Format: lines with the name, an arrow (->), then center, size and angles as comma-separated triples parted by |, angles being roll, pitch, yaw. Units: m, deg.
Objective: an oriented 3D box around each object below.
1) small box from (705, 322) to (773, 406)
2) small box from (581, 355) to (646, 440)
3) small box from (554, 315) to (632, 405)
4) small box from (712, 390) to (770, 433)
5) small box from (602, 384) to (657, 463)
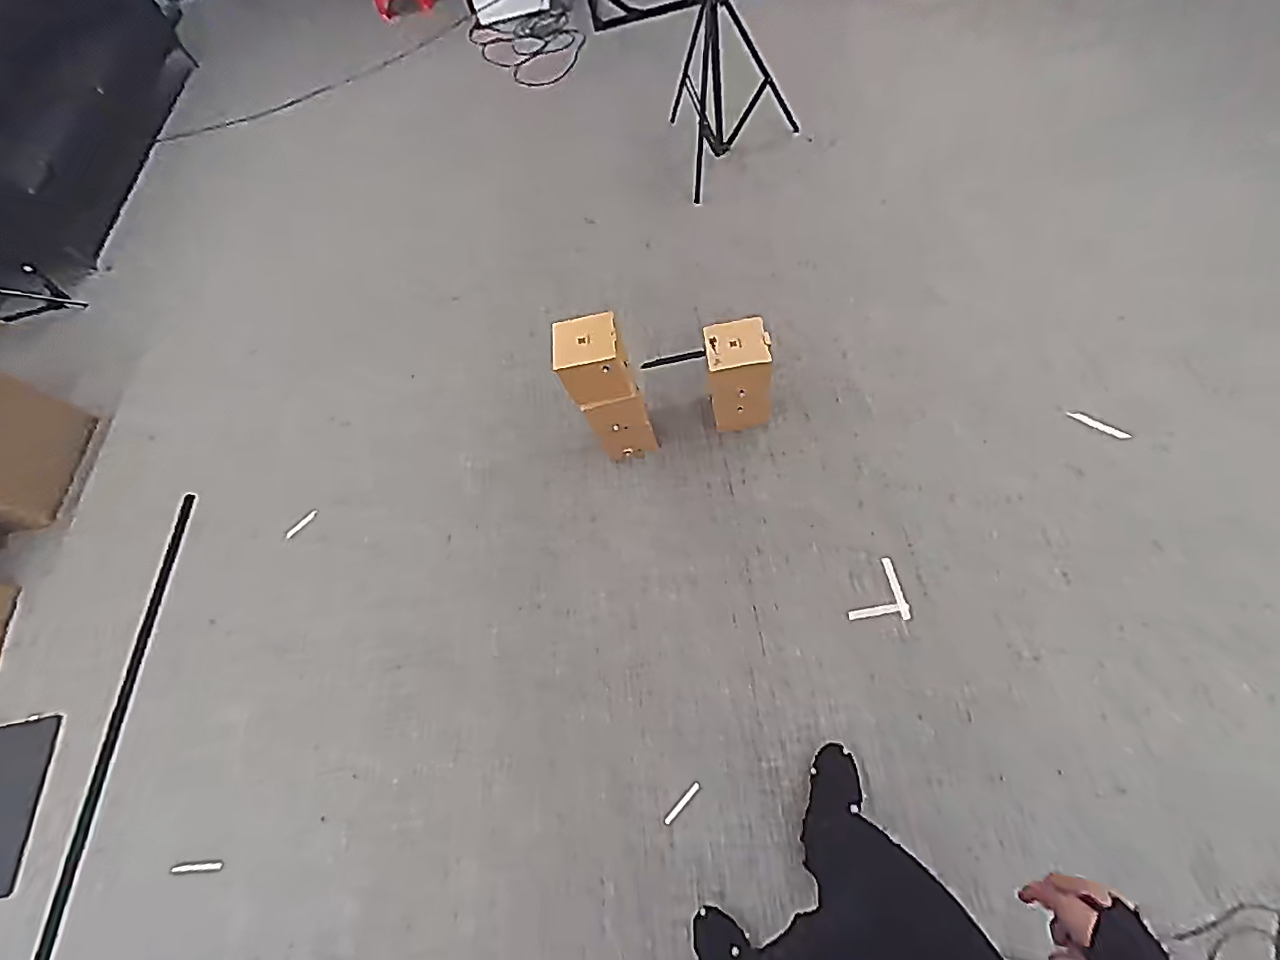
small box -> 0.292, -0.342, 1.611 | 0.179, 0.176, 0.168 | -7, 62, 7
small box -> -0.086, -0.249, 1.646 | 0.168, 0.176, 0.179 | -14, 62, 6
small box -> -0.129, -0.328, 1.510 | 0.179, 0.176, 0.168 | -9, 62, 8
small box -> 0.322, -0.269, 1.755 | 0.179, 0.176, 0.168 | -8, 63, 7
small box -> -0.048, -0.183, 1.791 | 0.168, 0.176, 0.179 | -15, 62, 5
